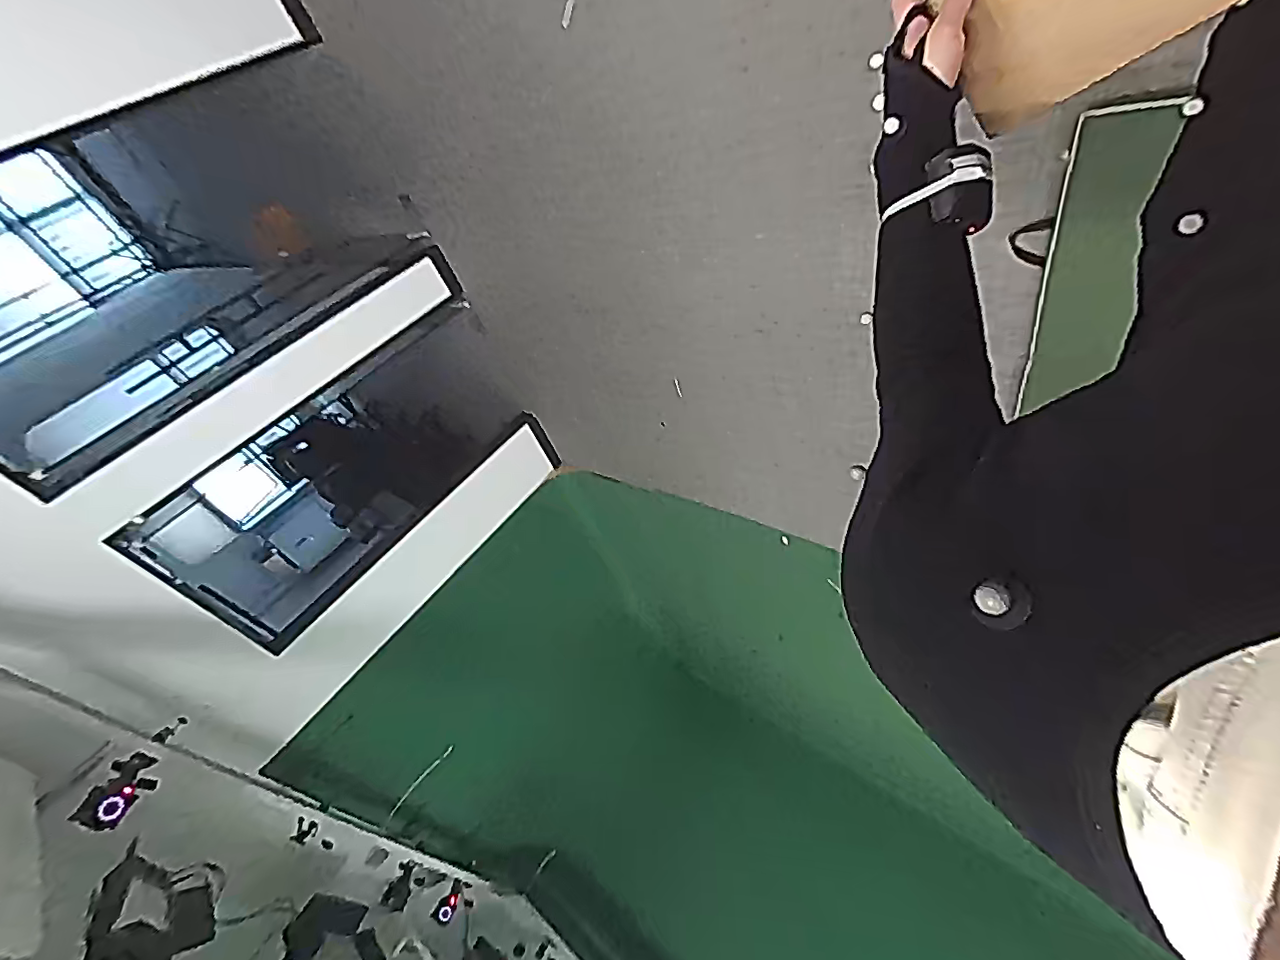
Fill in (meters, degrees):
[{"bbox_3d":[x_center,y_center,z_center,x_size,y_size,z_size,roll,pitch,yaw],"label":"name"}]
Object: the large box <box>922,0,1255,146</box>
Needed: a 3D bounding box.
[{"bbox_3d":[0.460,-0.573,0.411,0.320,0.320,0.408,48,155,-17],"label":"large box"}]
